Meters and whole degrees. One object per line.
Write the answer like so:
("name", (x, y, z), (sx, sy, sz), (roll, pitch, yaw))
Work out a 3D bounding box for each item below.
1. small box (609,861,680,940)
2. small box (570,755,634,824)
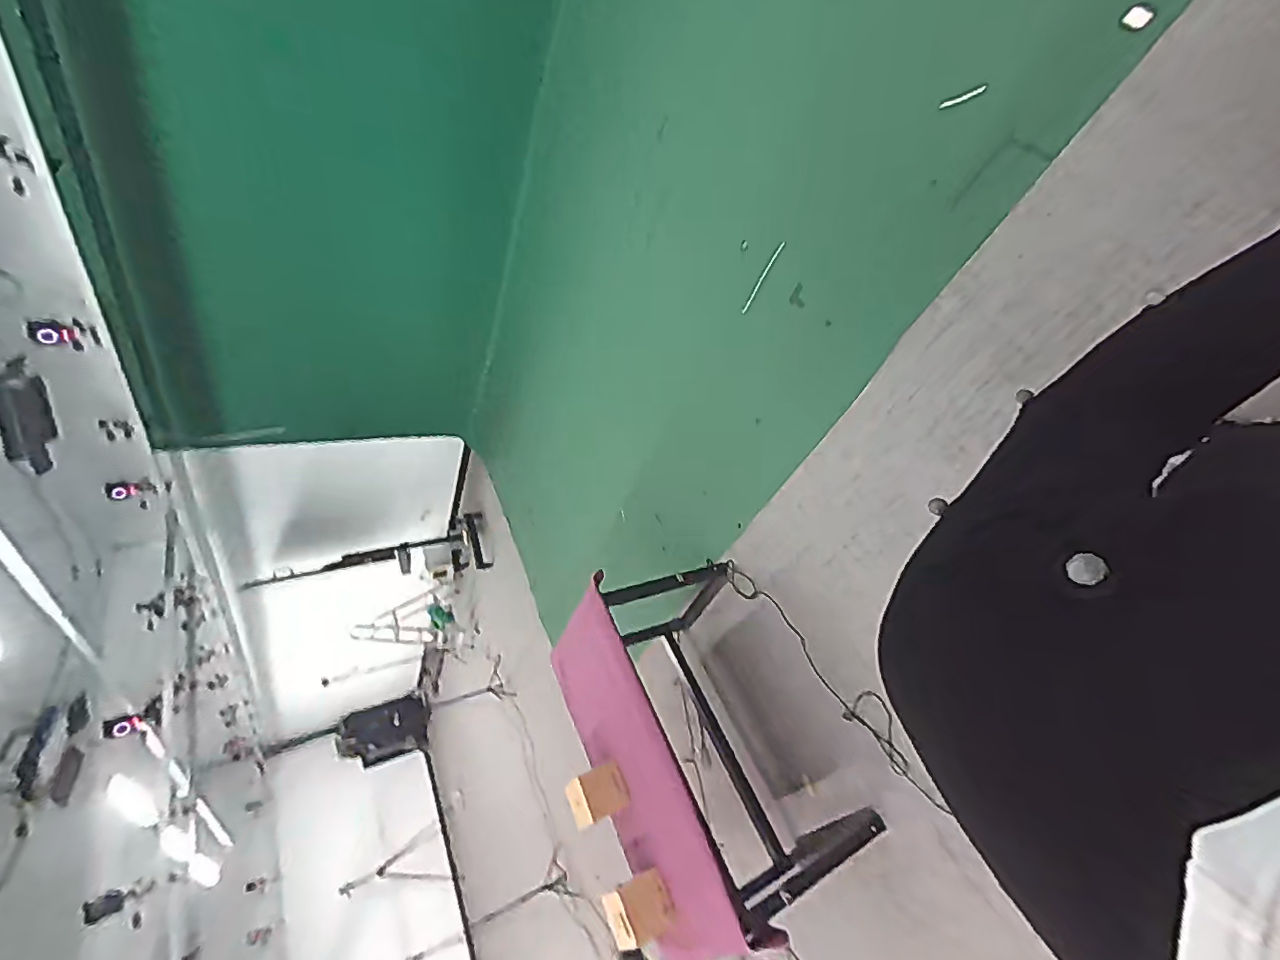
("small box", (0.020, 1.481, 1.909), (0.168, 0.176, 0.179), (61, 141, 29))
("small box", (-0.146, 1.202, 2.101), (0.168, 0.176, 0.179), (61, 141, 27))
